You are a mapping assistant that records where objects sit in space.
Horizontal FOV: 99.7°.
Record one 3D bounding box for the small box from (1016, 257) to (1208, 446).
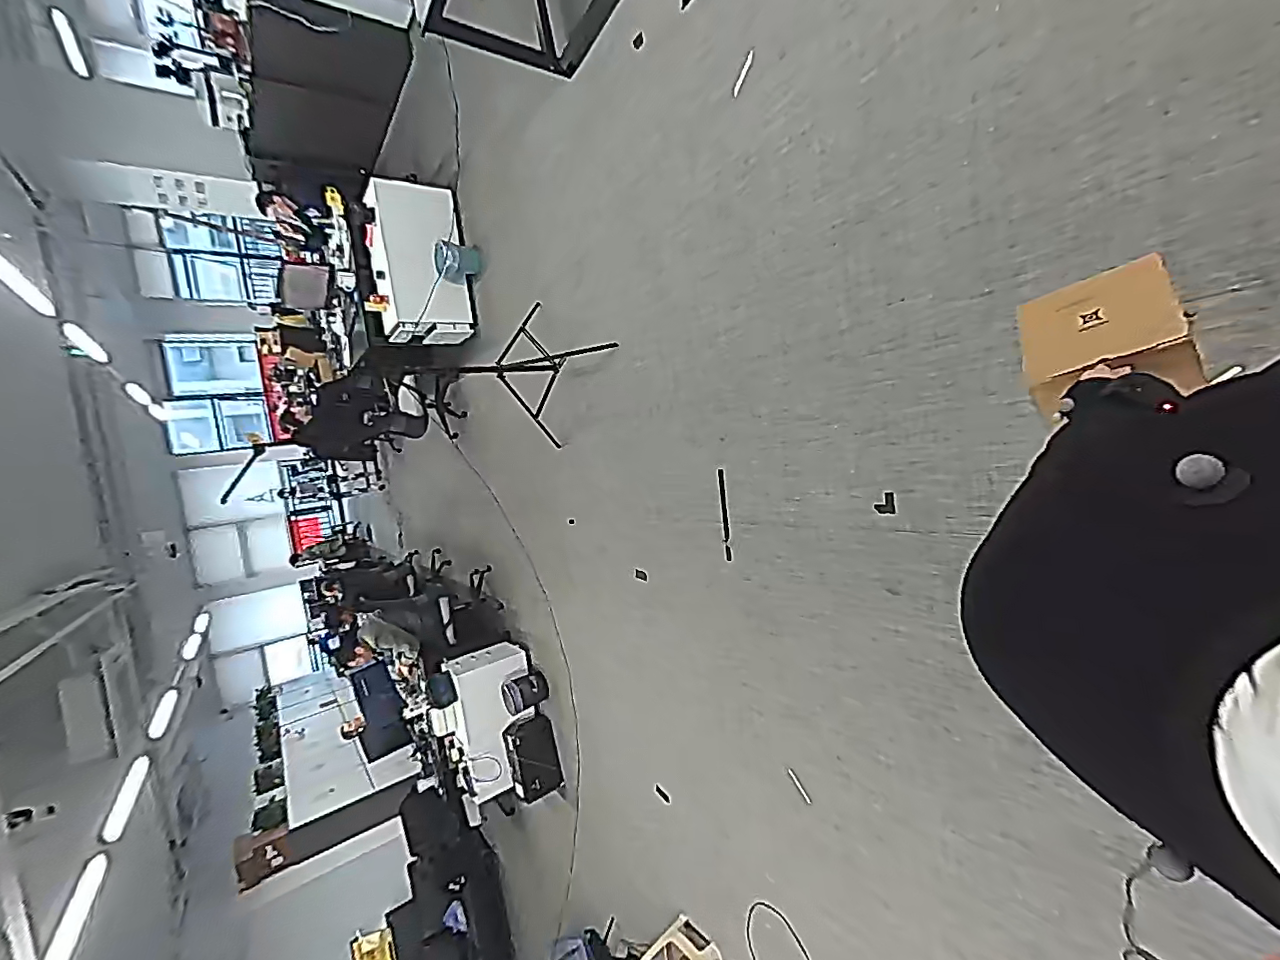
[{"bbox_3d":[0.665,-0.168,0.771,0.168,0.176,0.179,-18,41,43],"label":"small box"}]
